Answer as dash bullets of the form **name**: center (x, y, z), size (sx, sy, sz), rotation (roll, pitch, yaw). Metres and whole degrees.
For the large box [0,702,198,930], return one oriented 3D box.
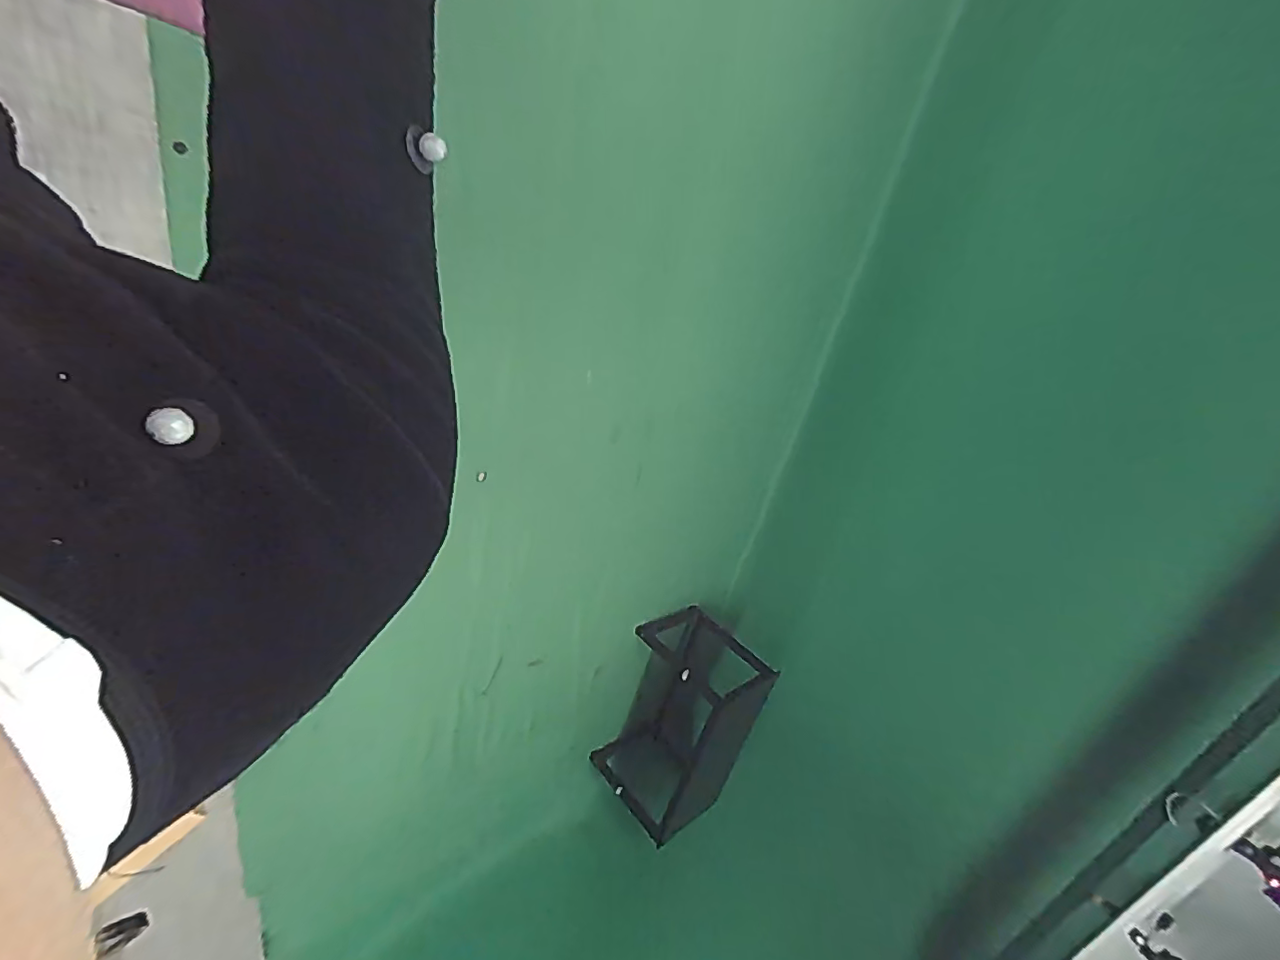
- **large box**: center (-1.550, 0.906, 1.477), size (0.408, 0.320, 0.320), rotation (-40, 142, -21)
